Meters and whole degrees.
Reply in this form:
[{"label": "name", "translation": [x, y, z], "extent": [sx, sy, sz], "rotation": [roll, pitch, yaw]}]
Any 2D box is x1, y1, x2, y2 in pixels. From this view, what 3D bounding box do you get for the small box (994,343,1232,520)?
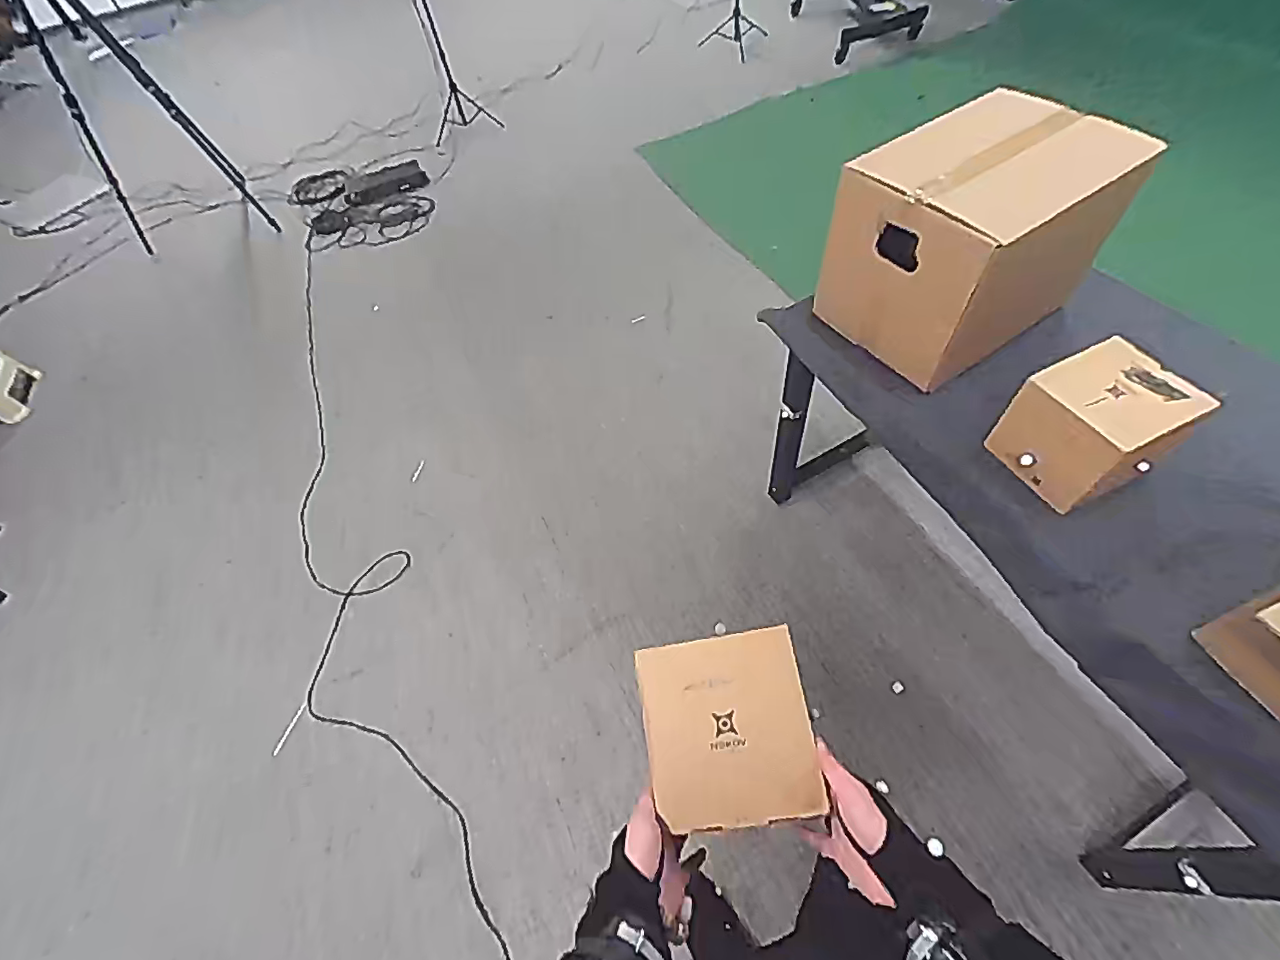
[{"label": "small box", "translation": [0.692, -0.069, 0.819], "extent": [0.179, 0.176, 0.168], "rotation": [-24, 57, -8]}]
